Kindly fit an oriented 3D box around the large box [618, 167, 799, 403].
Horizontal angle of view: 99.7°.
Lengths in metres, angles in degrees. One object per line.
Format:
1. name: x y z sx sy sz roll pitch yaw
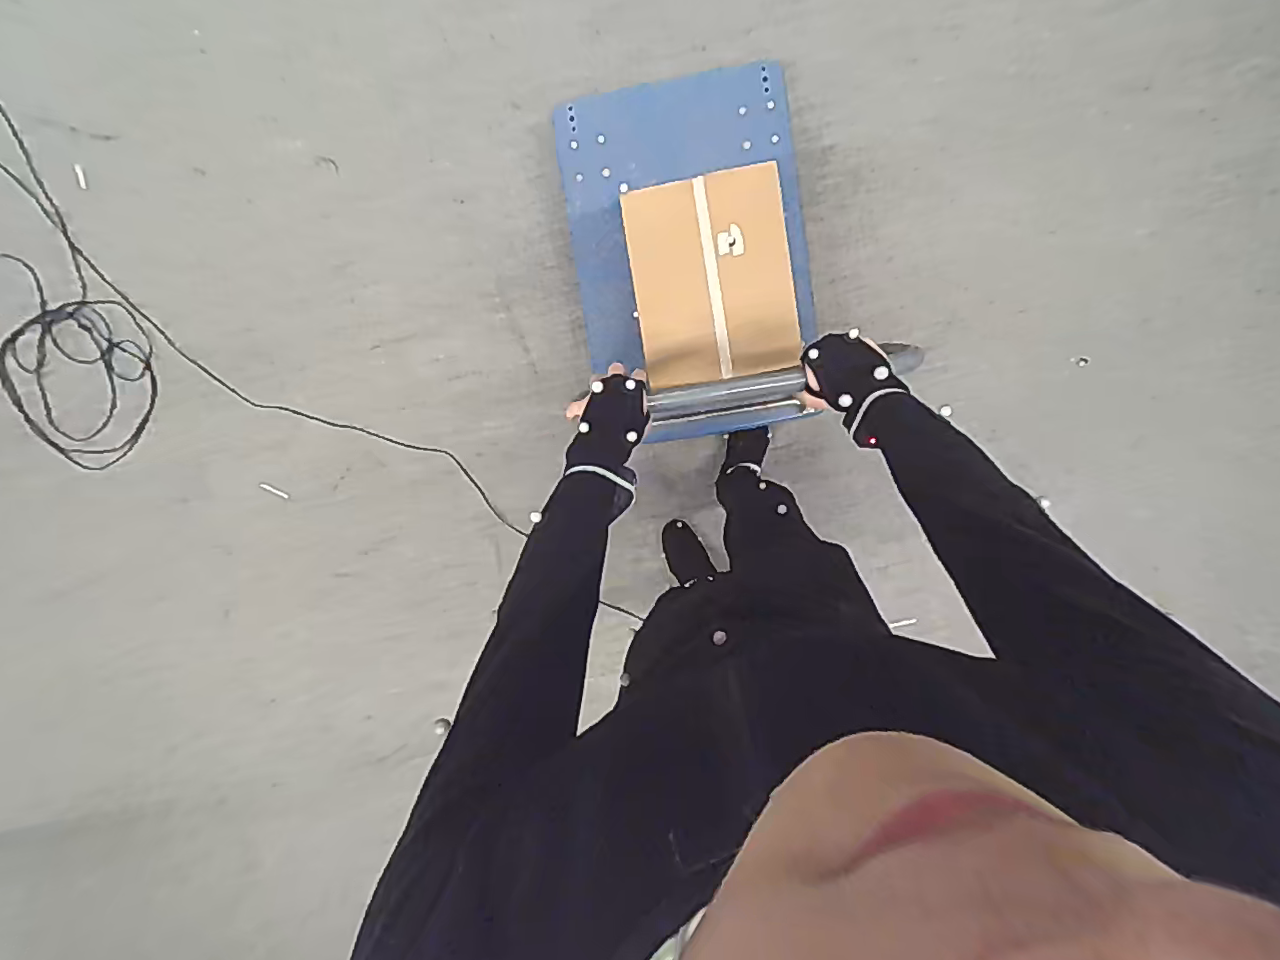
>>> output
1. large box: 0.151 -0.408 1.236 0.320 0.320 0.408 -9 93 5
